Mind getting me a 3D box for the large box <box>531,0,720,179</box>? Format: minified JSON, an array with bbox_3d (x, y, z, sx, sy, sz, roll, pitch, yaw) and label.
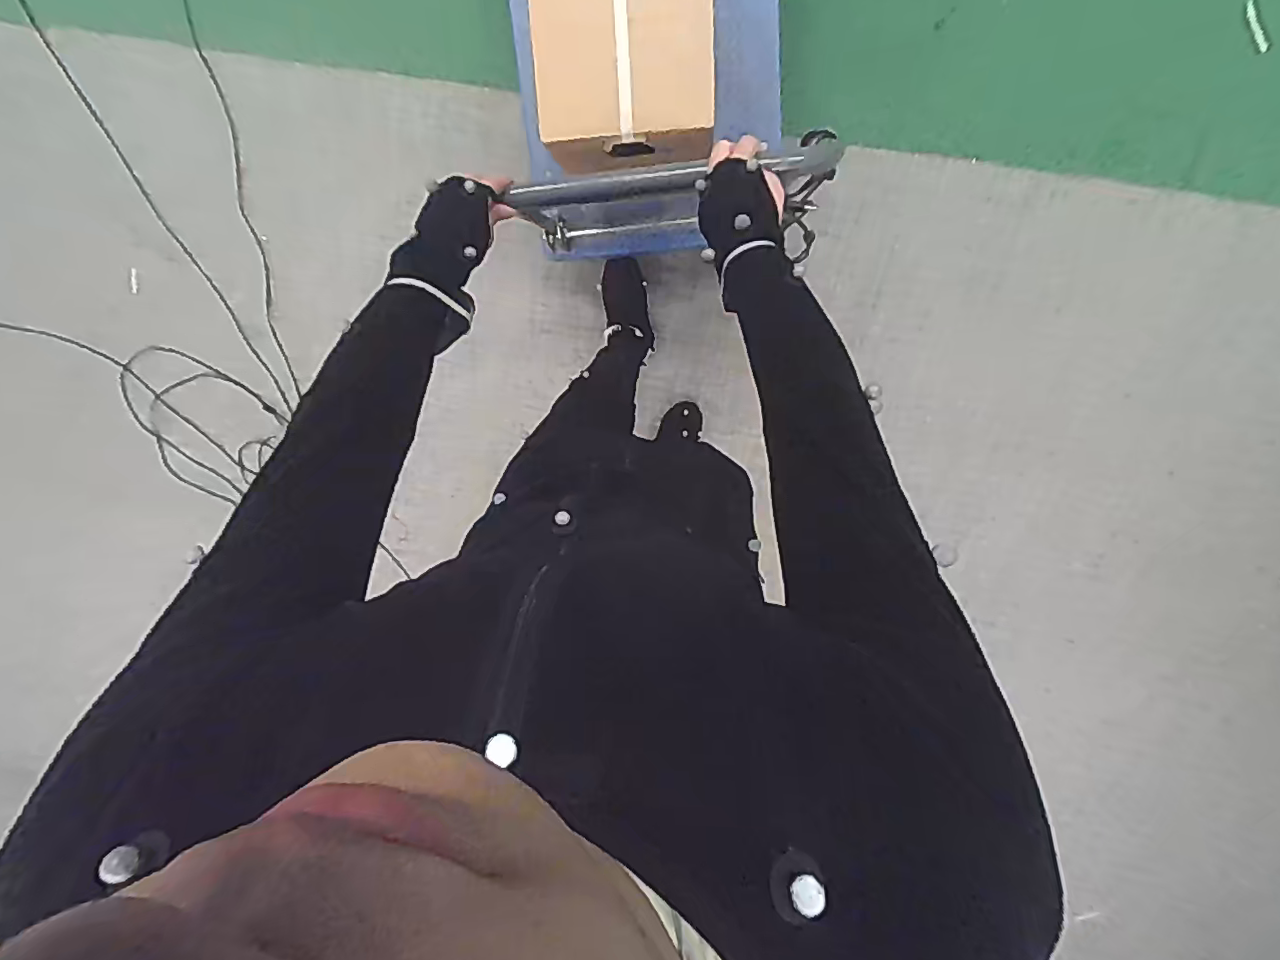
[{"bbox_3d":[-0.015,-0.843,1.027,0.320,0.320,0.408,-1,106,5],"label":"large box"}]
